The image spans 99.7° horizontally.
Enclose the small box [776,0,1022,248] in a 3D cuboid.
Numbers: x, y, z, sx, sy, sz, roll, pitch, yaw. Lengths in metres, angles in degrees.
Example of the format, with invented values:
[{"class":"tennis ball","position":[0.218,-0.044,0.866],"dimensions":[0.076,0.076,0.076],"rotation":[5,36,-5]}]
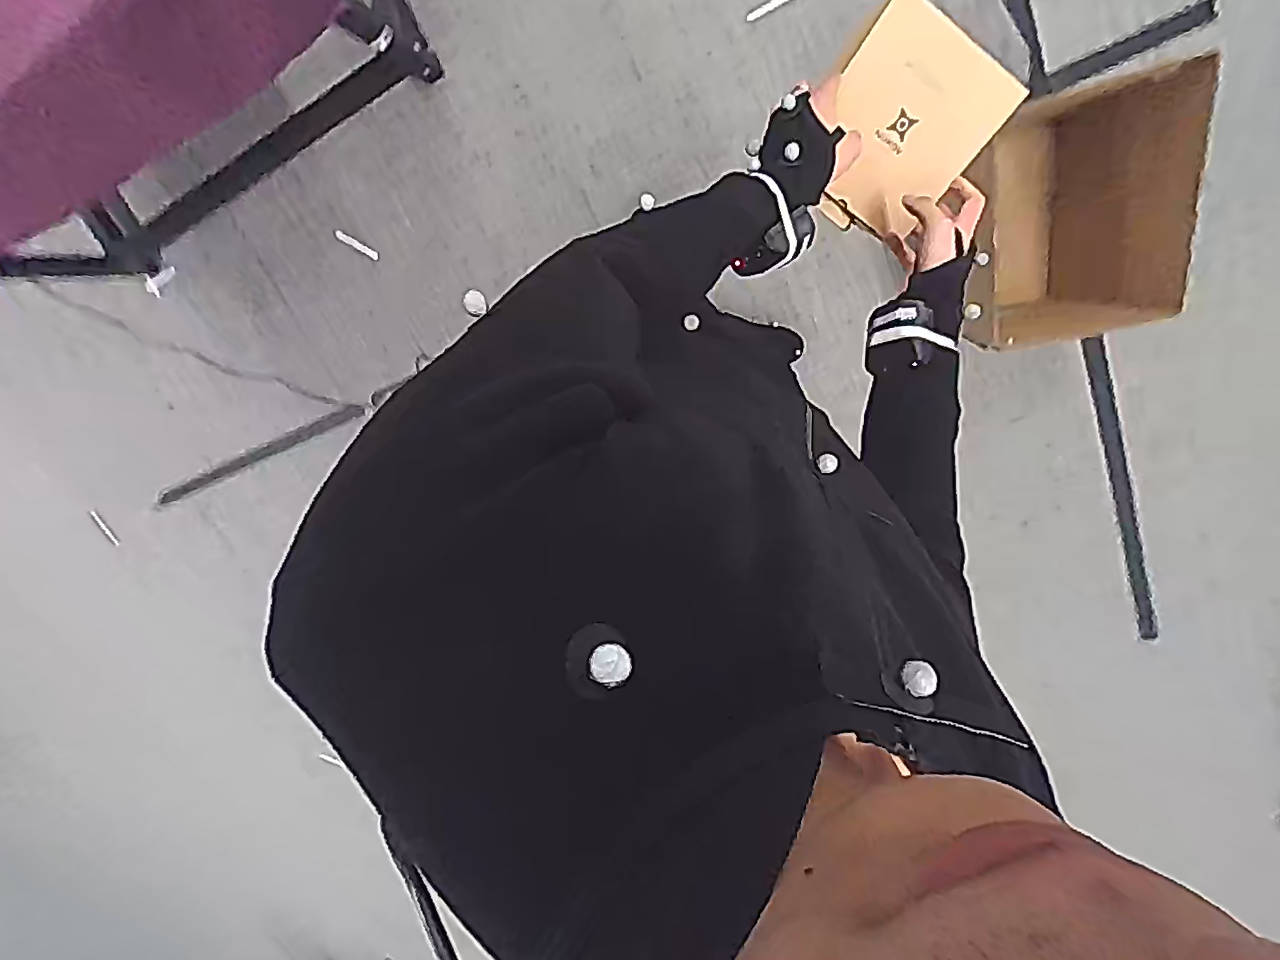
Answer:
[{"class":"small box","position":[0.272,-0.402,0.620],"dimensions":[0.168,0.176,0.179],"rotation":[31,121,-10]}]
